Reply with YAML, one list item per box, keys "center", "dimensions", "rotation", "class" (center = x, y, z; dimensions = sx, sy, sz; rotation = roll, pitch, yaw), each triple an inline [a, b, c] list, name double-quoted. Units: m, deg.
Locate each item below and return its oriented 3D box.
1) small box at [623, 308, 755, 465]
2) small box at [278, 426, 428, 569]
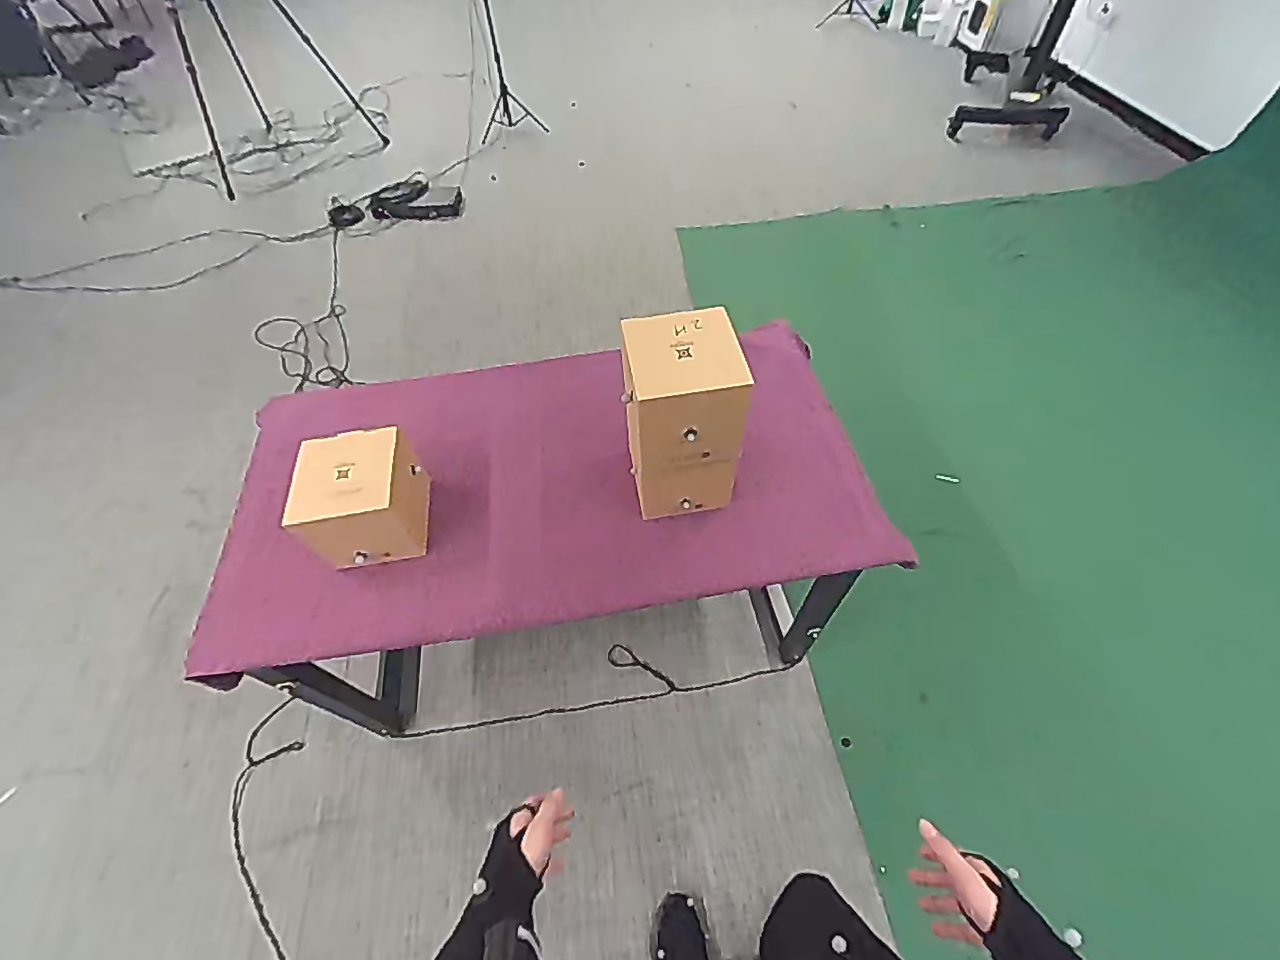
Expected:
- center: [0.069, -0.137, 0.841]
  dimensions: [0.168, 0.176, 0.179]
  rotation: [-8, 55, -4]
  class: "small box"
- center: [-0.482, 0.032, 0.941]
  dimensions: [0.168, 0.176, 0.179]
  rotation: [-9, 55, -4]
  class: "small box"
